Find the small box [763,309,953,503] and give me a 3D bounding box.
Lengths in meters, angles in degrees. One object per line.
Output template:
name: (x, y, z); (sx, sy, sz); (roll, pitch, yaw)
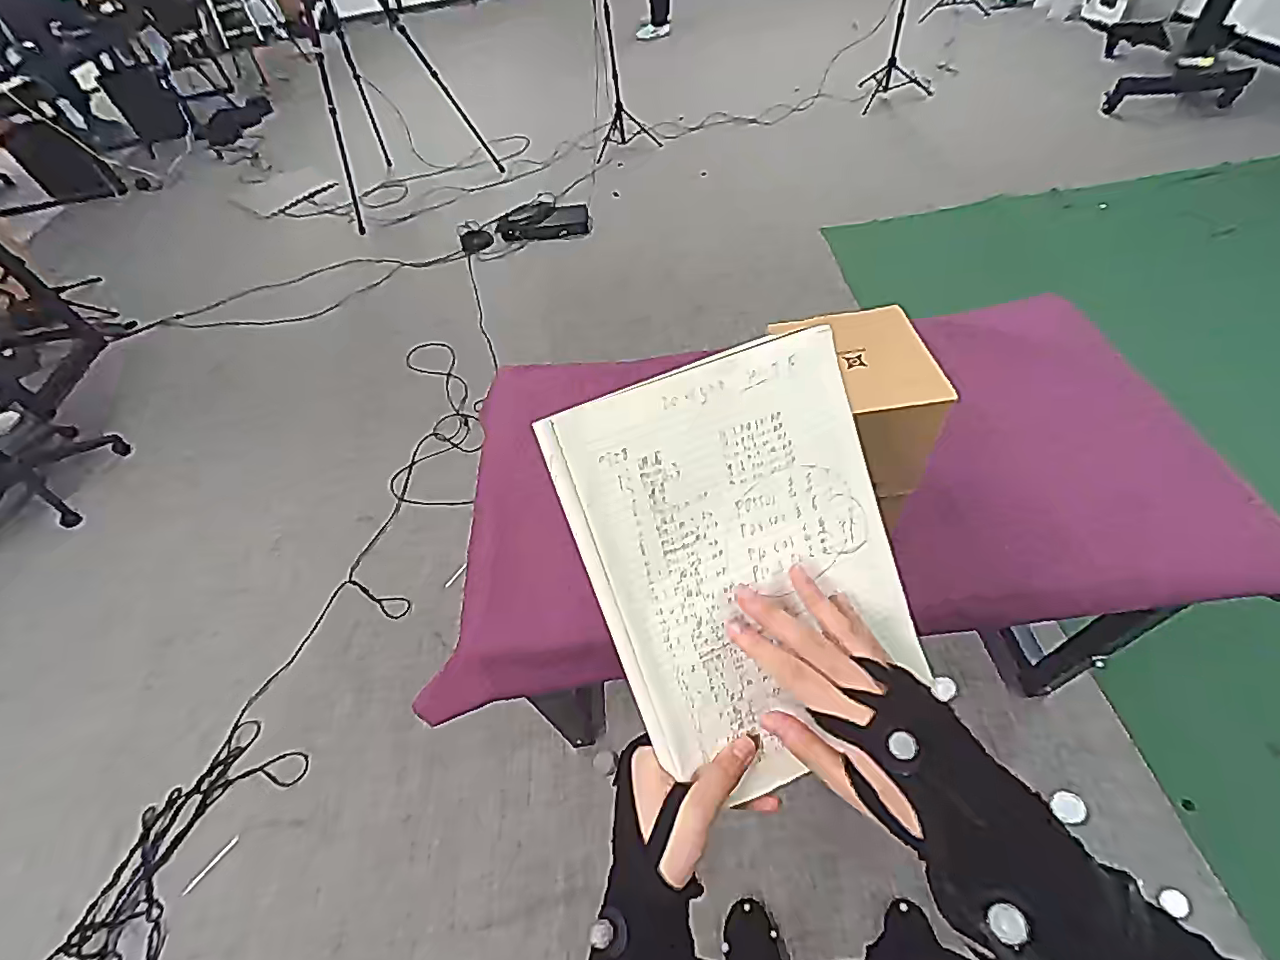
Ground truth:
small box: (0.256, -0.085, 0.685); (0.168, 0.176, 0.179); (-8, 50, 3)
